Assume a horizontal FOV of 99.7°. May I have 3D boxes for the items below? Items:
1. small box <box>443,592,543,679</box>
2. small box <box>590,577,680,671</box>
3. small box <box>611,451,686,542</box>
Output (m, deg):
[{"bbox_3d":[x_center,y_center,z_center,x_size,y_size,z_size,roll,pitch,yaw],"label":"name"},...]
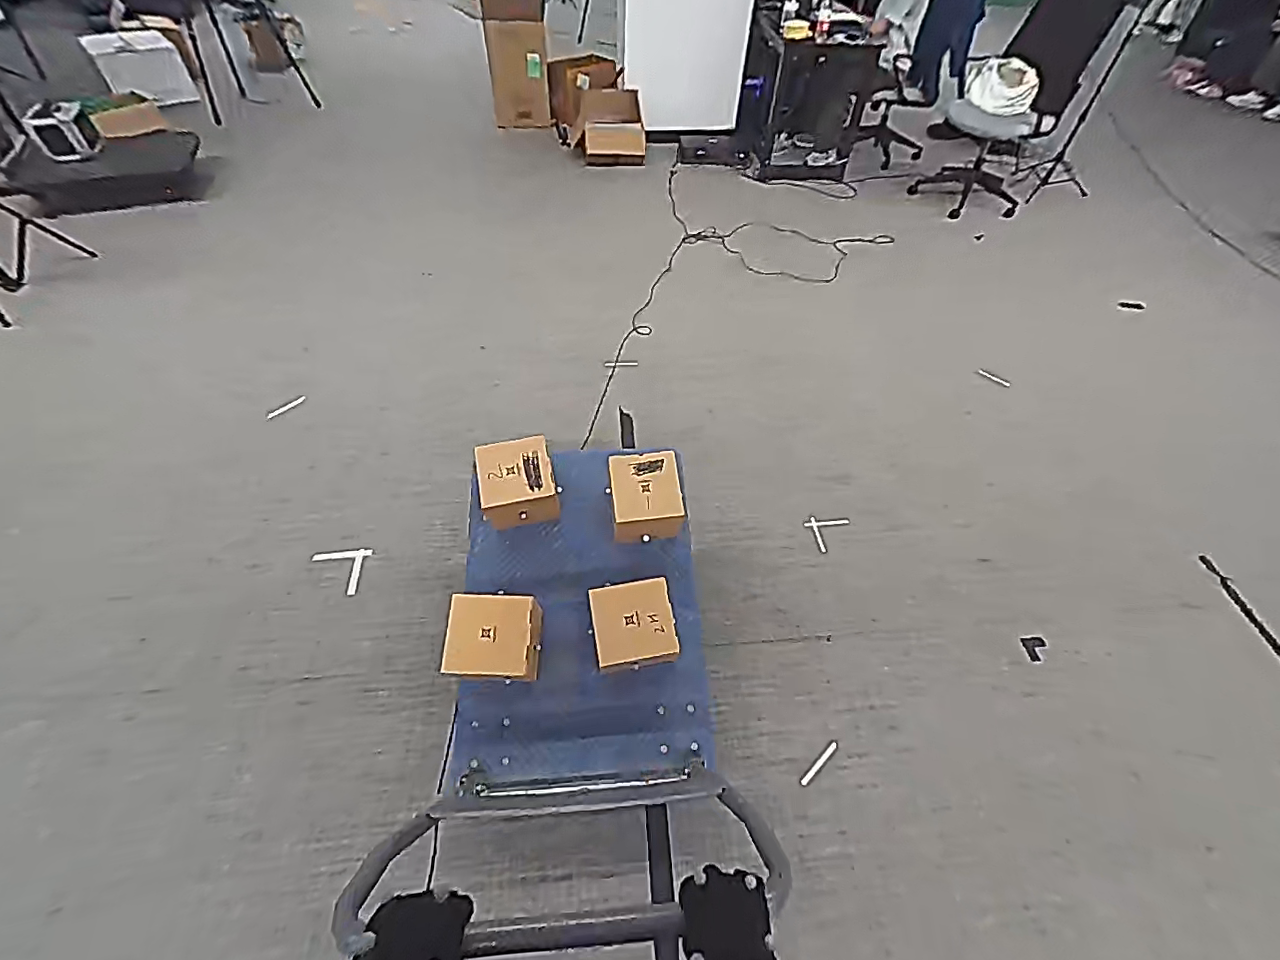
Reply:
[{"bbox_3d":[-0.321,0.356,1.218,0.179,0.176,0.168,2,65,-3],"label":"small box"},{"bbox_3d":[-0.015,0.334,1.240,0.179,0.176,0.168,-8,67,-6],"label":"small box"},{"bbox_3d":[0.015,0.045,1.373,0.168,0.176,0.179,-6,67,-5],"label":"small box"}]
